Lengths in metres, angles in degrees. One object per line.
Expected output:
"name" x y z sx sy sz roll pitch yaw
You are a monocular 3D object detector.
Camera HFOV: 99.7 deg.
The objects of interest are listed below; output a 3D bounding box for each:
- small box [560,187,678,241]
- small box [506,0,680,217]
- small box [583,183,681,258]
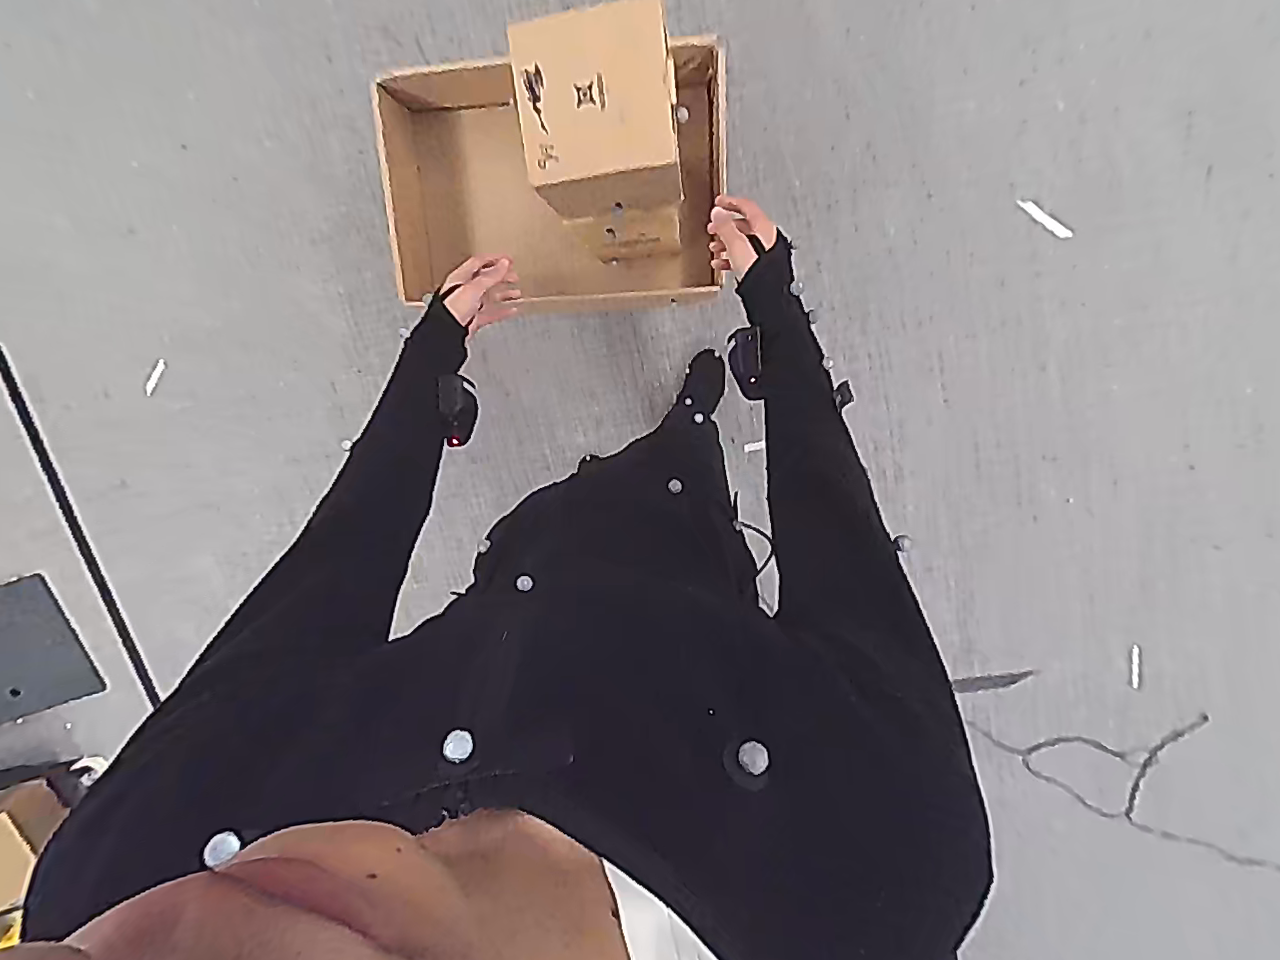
"small box" -0.030 -0.473 0.825 0.168 0.176 0.179 -3 102 6
"small box" -0.044 -0.439 0.665 0.179 0.176 0.168 -5 102 7
"small box" -0.015 -0.509 0.982 0.168 0.176 0.179 -3 102 7
